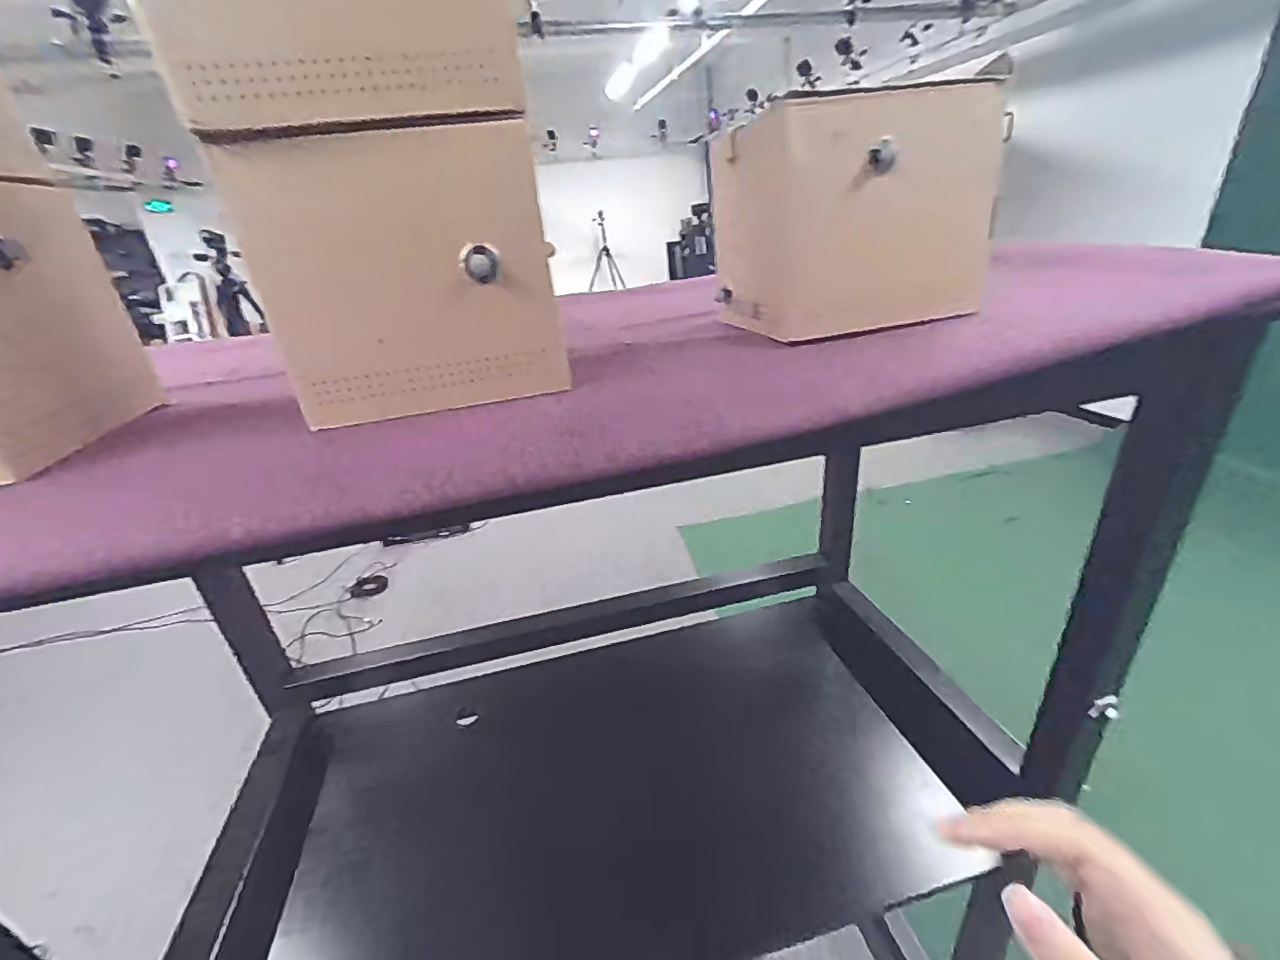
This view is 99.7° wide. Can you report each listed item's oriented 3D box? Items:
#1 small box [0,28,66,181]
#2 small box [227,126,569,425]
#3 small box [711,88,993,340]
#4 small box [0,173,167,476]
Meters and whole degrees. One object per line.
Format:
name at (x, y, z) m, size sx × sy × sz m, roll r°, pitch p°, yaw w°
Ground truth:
small box at (-0.481, -0.242, 0.275) m, size 0.179 × 0.176 × 0.168 m, roll -11°, pitch 27°, yaw -14°
small box at (-0.154, -0.155, 0.414) m, size 0.179 × 0.176 × 0.168 m, roll -12°, pitch 26°, yaw -11°
small box at (0.177, -0.229, 0.495) m, size 0.179 × 0.176 × 0.168 m, roll -10°, pitch 24°, yaw -9°
small box at (-0.464, -0.098, 0.348) m, size 0.168 × 0.176 × 0.179 m, roll -10°, pitch 26°, yaw -12°
